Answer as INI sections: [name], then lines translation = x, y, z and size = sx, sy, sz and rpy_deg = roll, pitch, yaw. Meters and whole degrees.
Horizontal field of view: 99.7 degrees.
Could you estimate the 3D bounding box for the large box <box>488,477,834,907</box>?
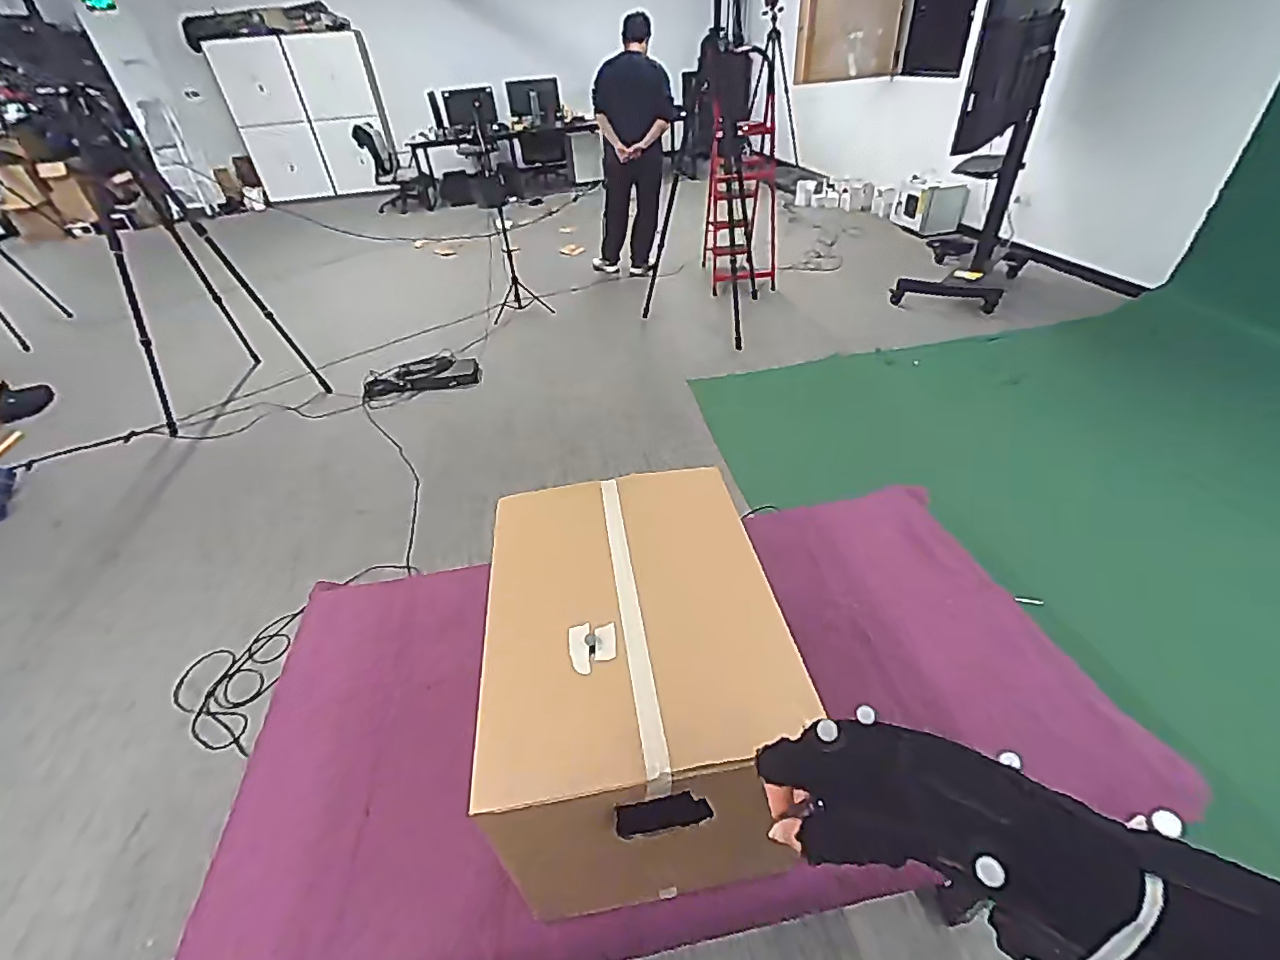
[large box]
translation = -0.002, 0.250, 0.708
size = 0.320, 0.320, 0.408
rpy_deg = -8, 39, -4
